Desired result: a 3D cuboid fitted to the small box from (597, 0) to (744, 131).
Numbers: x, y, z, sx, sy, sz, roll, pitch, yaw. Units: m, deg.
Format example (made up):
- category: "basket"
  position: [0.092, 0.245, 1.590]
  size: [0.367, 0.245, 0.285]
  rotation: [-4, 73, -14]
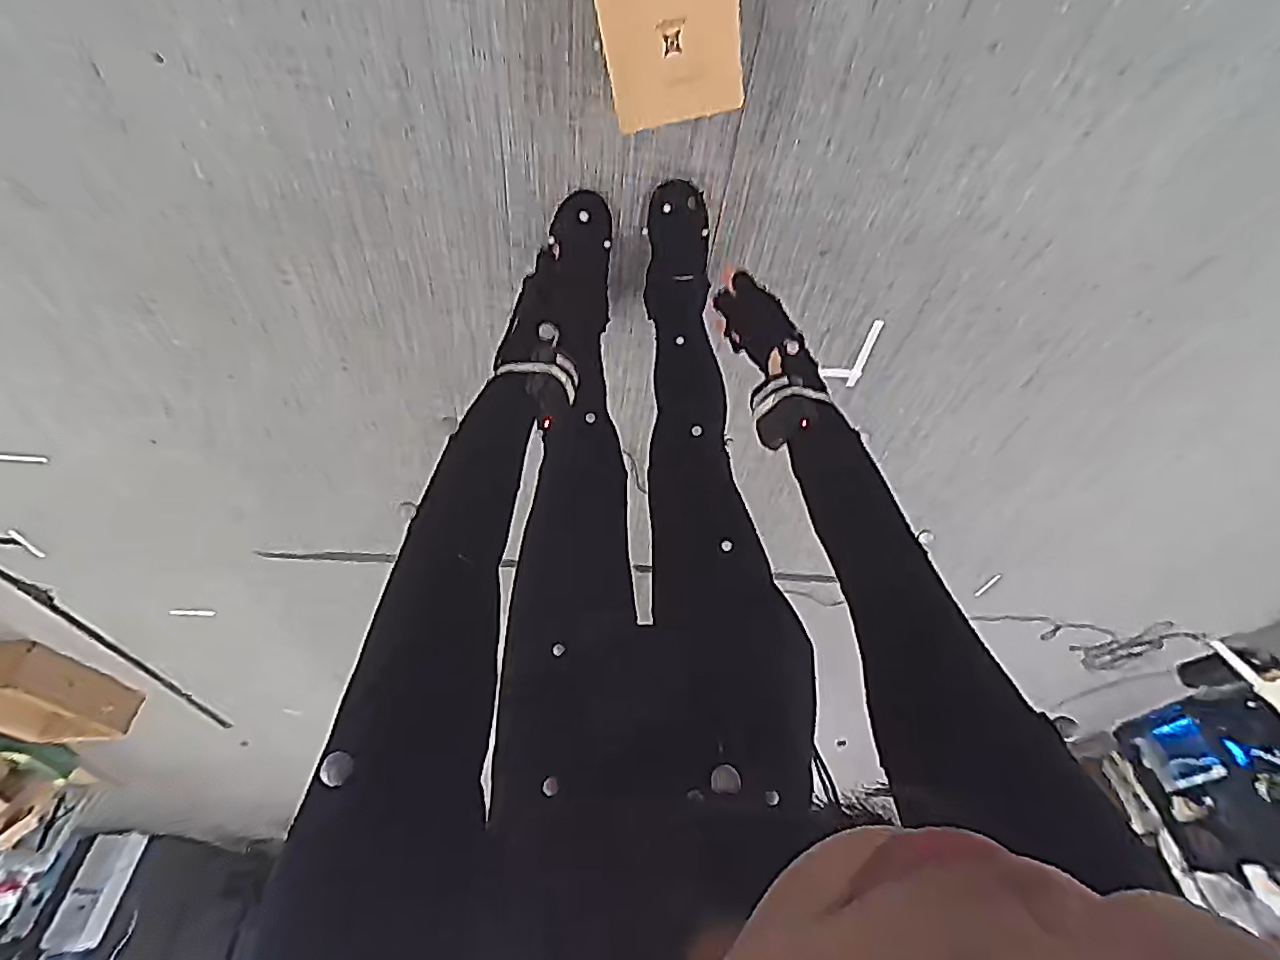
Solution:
- category: "small box"
  position: [0.036, -0.590, 0.698]
  size: [0.168, 0.176, 0.179]
  rotation: [-8, 138, 9]
